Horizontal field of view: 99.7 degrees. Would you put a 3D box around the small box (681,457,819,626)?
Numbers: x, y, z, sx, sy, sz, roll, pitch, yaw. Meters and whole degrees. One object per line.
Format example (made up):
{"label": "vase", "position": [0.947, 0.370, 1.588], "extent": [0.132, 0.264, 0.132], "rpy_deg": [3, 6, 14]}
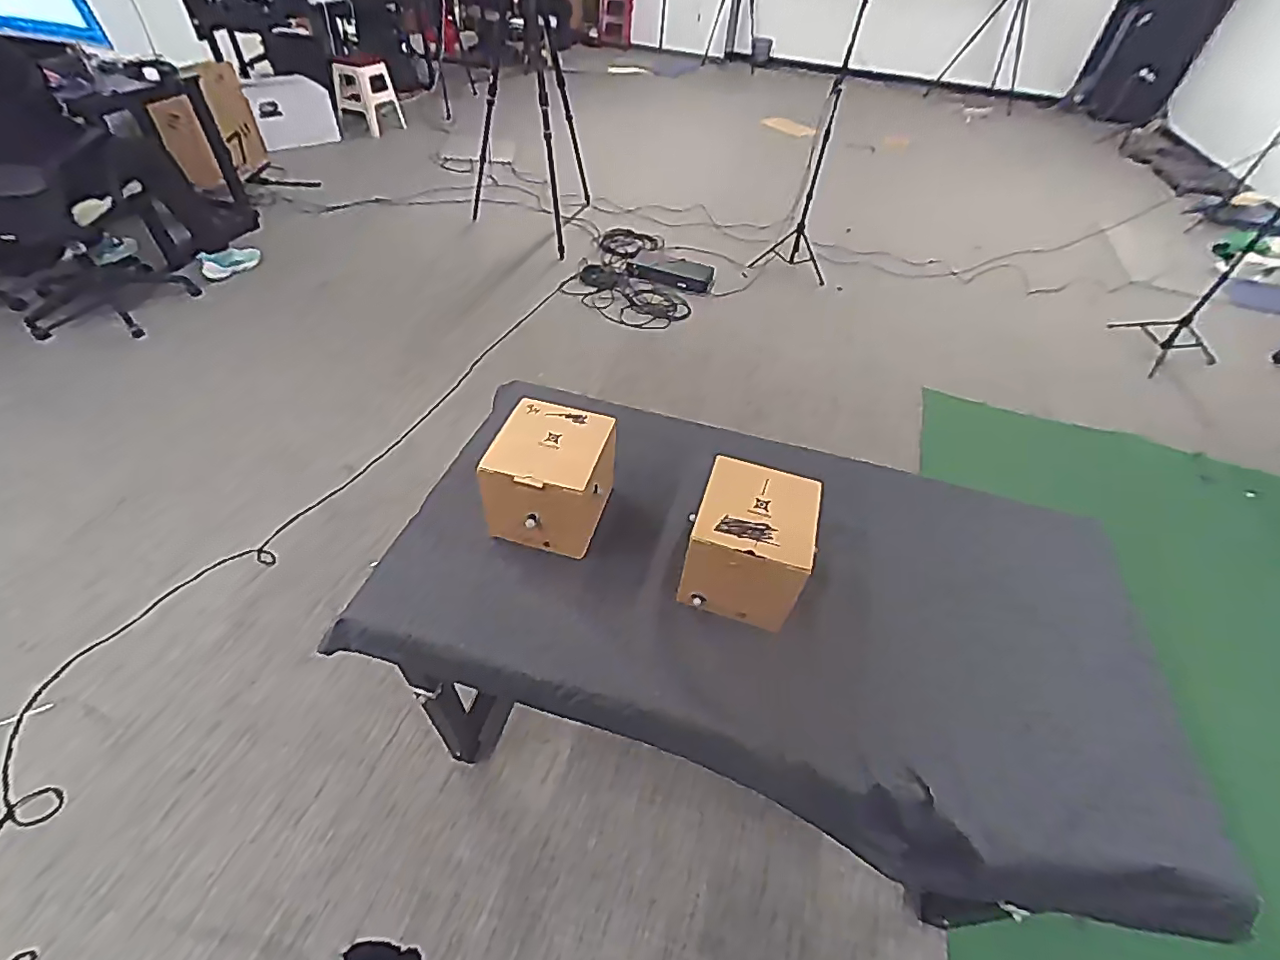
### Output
{"label": "small box", "position": [0.166, 0.097, 0.840], "extent": [0.168, 0.176, 0.179], "rpy_deg": [16, 47, 10]}

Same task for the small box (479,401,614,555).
{"label": "small box", "position": [-0.144, 0.000, 0.906], "extent": [0.168, 0.176, 0.179], "rpy_deg": [13, 48, 7]}
